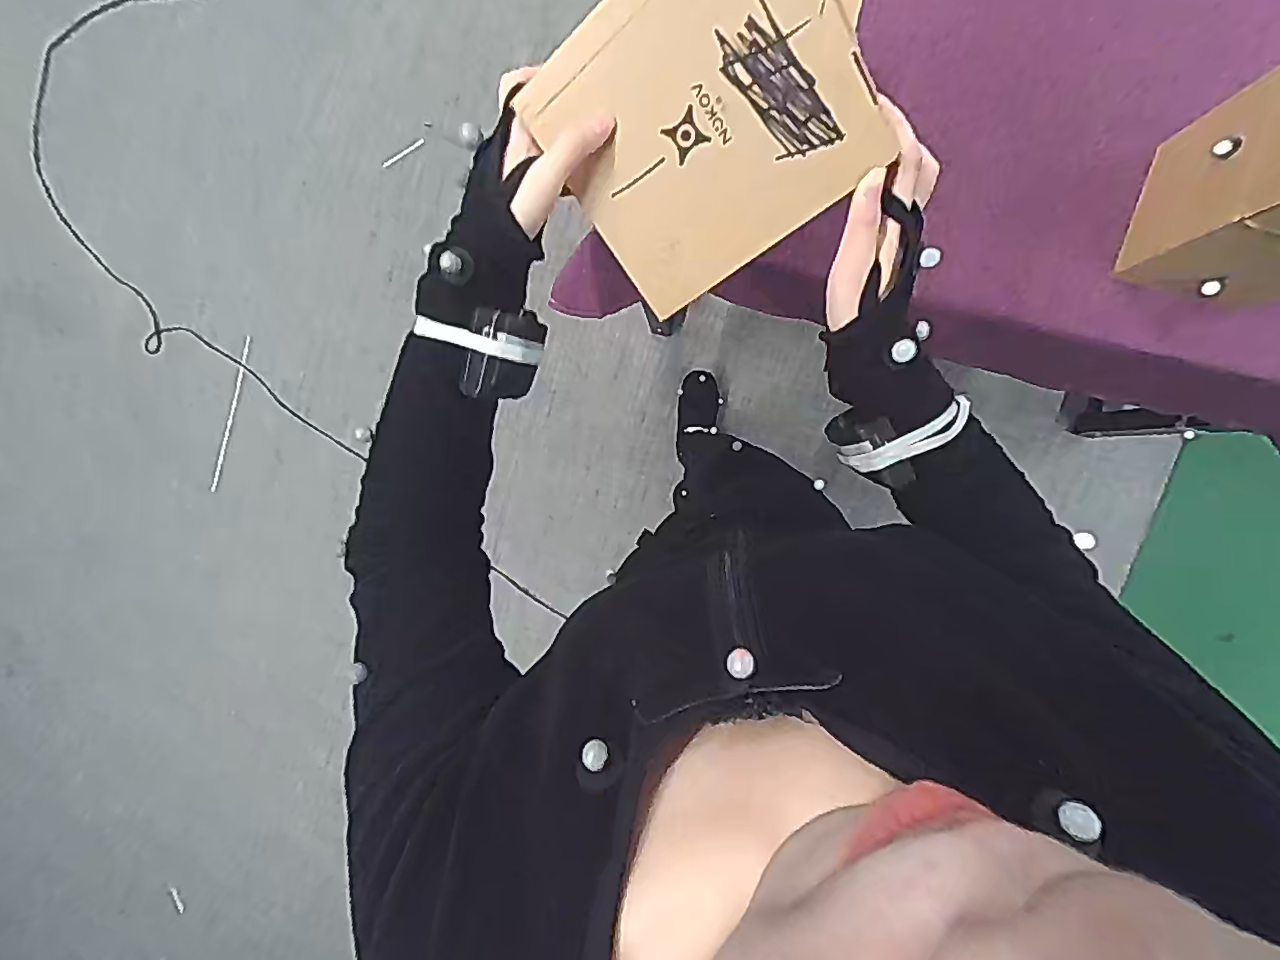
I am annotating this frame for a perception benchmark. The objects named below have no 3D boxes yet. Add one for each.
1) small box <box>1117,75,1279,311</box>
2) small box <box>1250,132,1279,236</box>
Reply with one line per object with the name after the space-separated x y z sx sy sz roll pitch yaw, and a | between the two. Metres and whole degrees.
0.703 -0.315 0.610 0.168 0.176 0.179 18 94 5 | small box
0.691 -0.307 0.448 0.168 0.176 0.179 18 95 4 | small box
